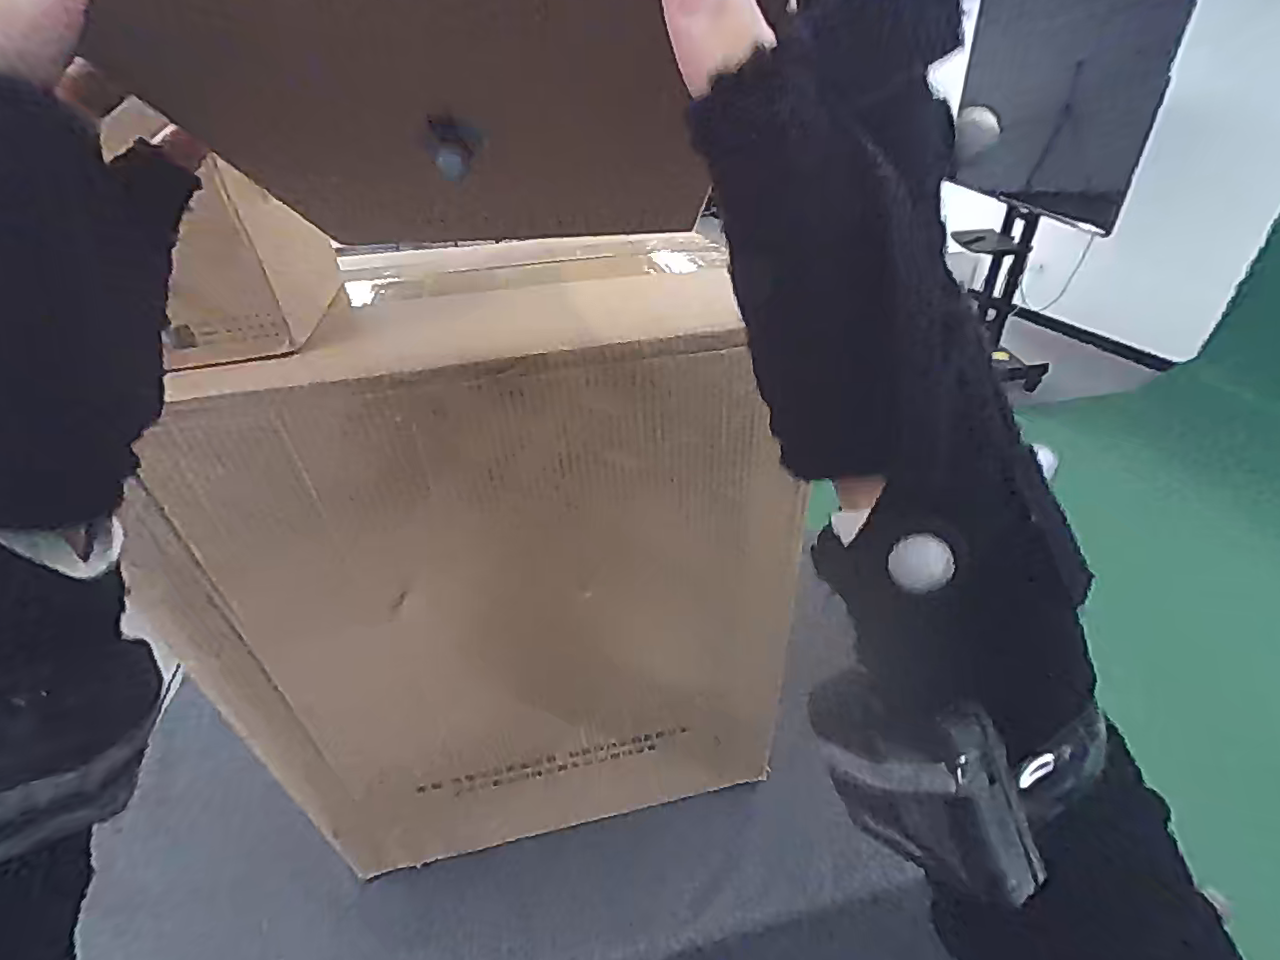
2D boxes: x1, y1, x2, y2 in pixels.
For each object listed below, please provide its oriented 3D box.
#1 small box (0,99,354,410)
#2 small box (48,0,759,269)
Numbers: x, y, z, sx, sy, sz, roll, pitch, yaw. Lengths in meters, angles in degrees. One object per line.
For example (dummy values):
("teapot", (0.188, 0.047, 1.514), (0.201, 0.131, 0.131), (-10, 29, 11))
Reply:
("small box", (-0.324, -0.161, 0.382), (0.168, 0.176, 0.179), (-14, 37, -11))
("small box", (-0.063, -0.193, 0.210), (0.179, 0.168, 0.176), (-3, 2, -2))
